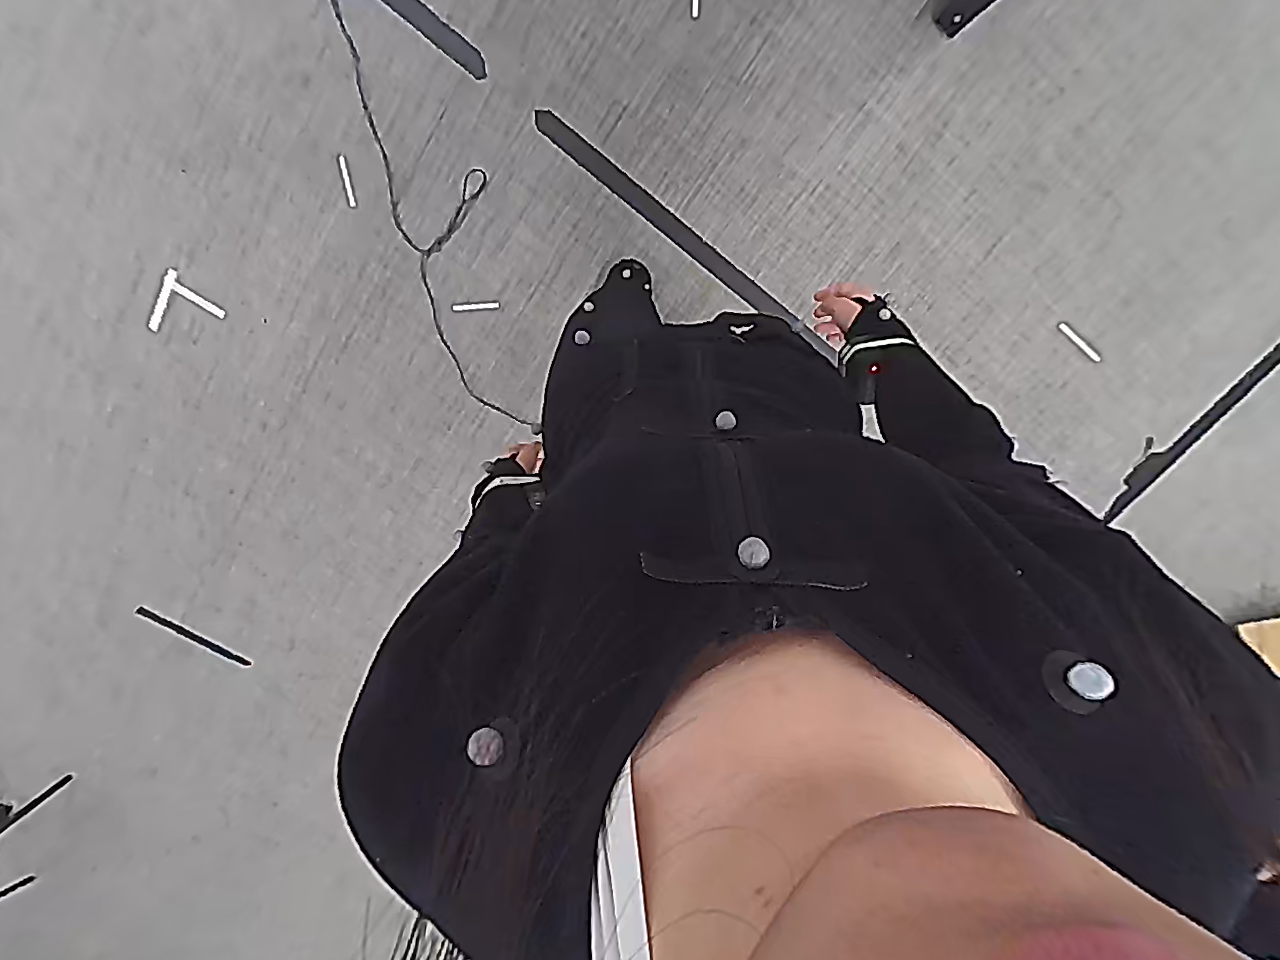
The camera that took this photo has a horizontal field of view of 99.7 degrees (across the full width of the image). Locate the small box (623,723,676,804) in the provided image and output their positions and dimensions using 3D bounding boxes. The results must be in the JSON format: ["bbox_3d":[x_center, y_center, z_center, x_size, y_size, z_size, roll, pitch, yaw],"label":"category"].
[{"bbox_3d":[0.030,0.919,1.764,0.168,0.176,0.179,-1,110,2],"label":"small box"}]
